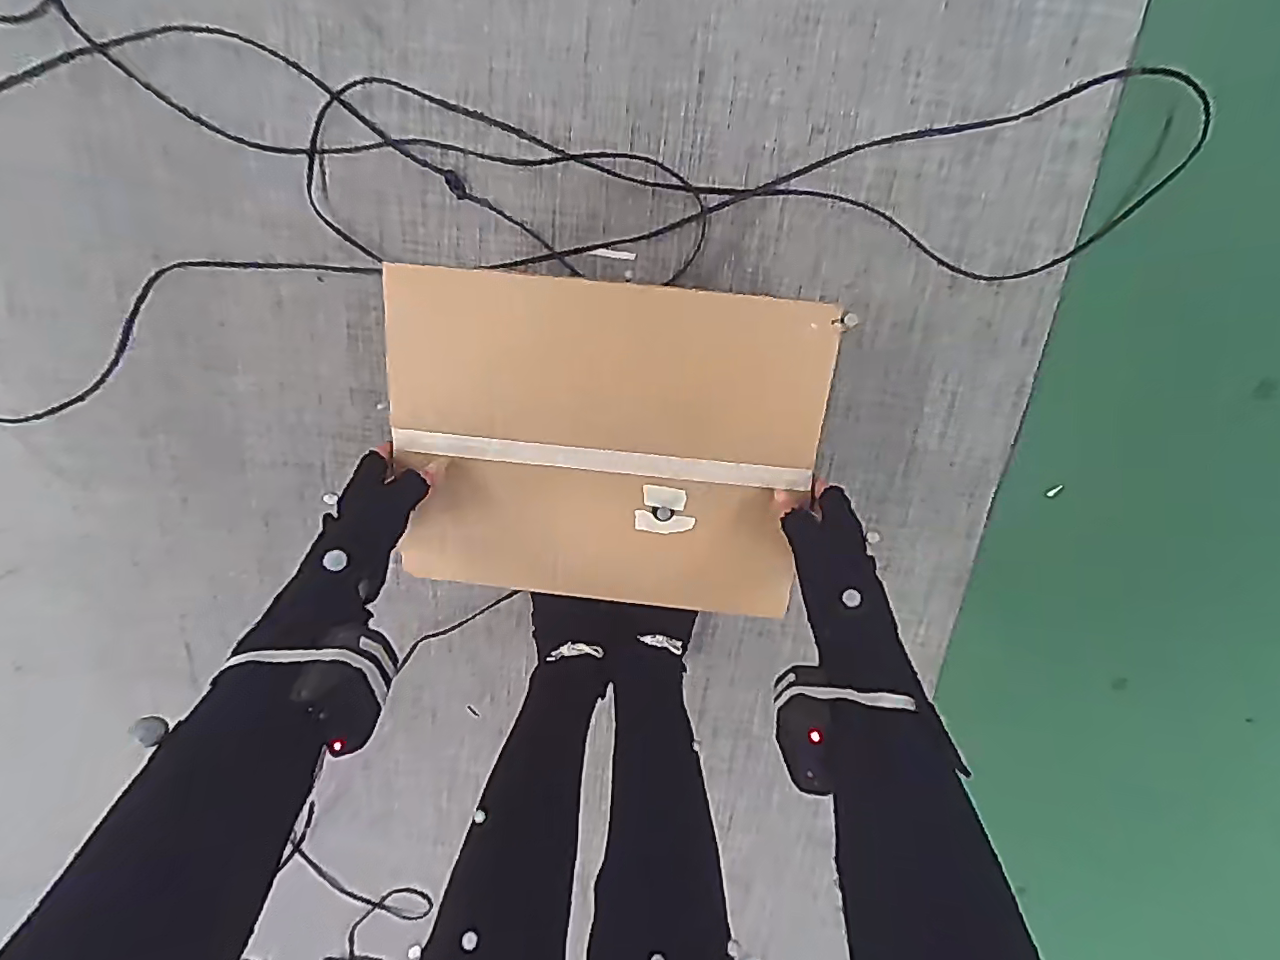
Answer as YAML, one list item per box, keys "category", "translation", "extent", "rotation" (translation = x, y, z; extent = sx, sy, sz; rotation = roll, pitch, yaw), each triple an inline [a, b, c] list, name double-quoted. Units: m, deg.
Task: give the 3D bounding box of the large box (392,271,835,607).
- category: "large box"
  translation: [-0.030, -0.072, 0.665]
  extent: [0.408, 0.320, 0.320]
  rotation: [5, 109, 2]
